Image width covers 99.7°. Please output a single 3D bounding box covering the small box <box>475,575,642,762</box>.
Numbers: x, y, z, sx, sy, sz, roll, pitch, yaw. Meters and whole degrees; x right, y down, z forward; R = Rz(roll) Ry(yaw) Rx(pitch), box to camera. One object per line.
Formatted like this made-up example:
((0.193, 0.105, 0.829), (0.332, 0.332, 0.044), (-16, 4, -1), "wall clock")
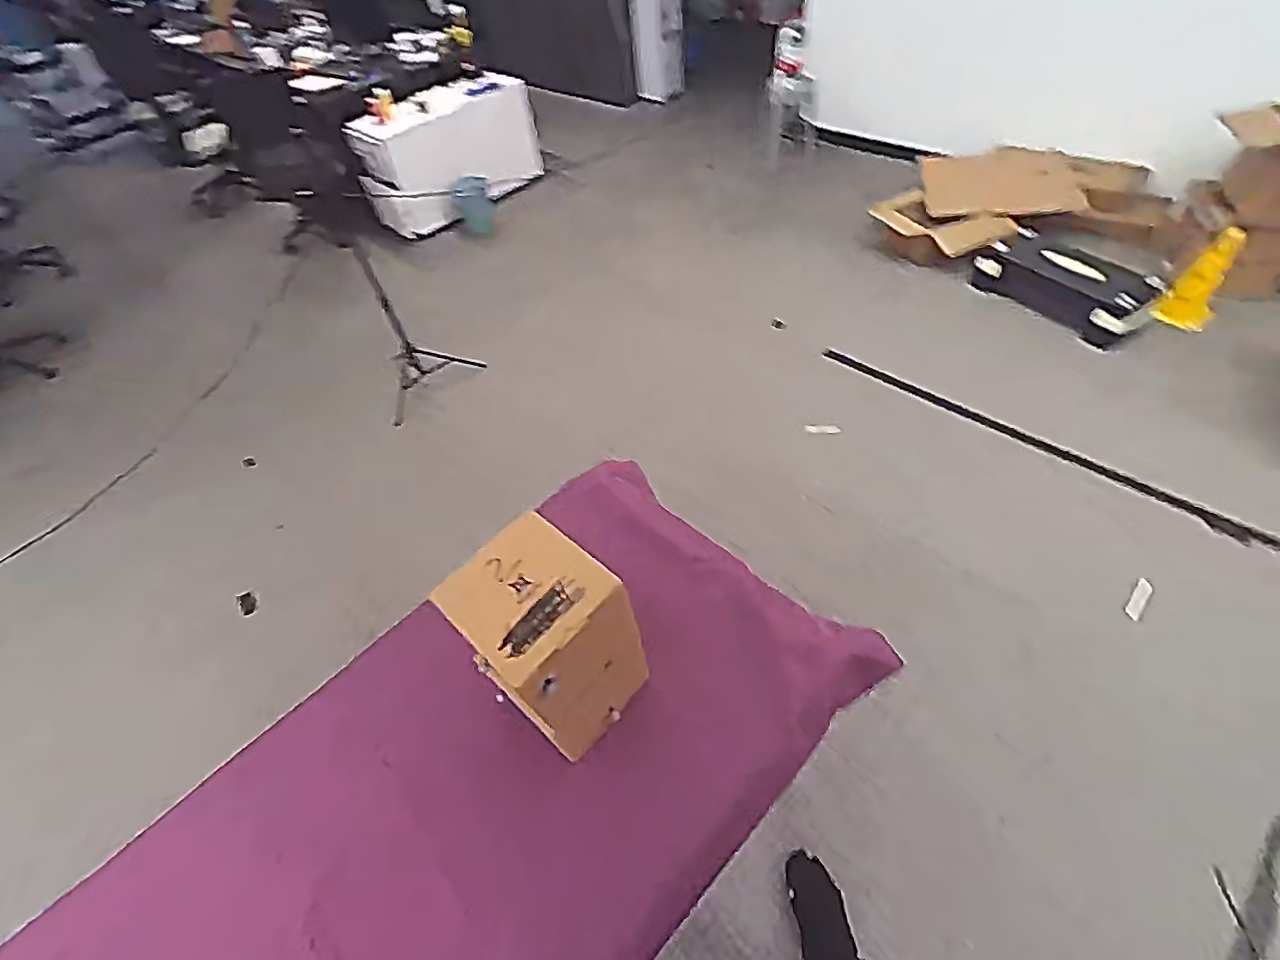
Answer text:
((-0.110, 0.285, 0.815), (0.168, 0.176, 0.179), (31, 61, 29), "small box")
